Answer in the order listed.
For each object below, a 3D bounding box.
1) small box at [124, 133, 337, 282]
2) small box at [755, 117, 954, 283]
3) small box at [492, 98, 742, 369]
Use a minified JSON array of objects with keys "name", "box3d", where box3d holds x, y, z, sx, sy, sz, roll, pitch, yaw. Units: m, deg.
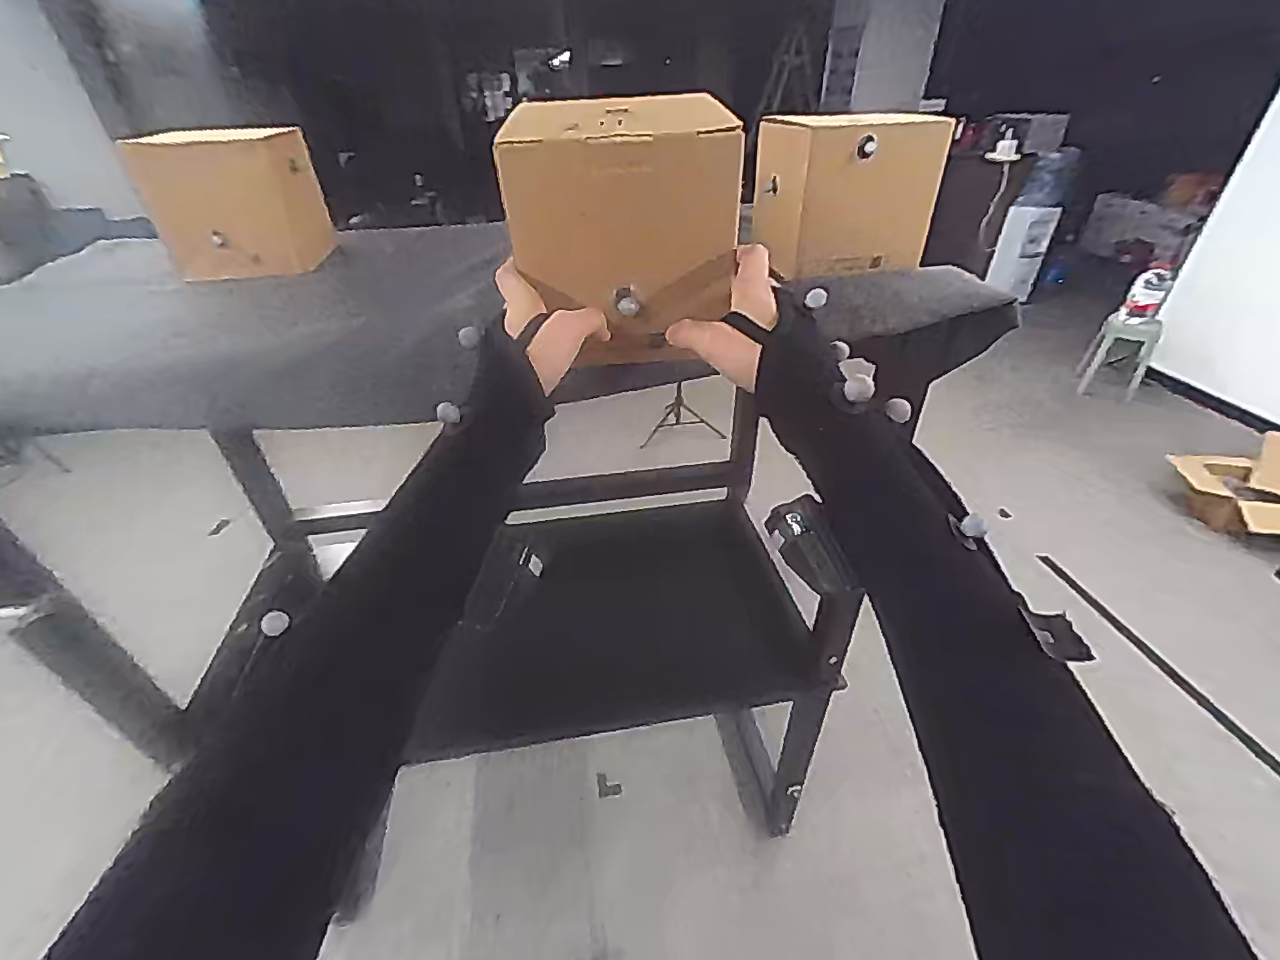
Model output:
[{"name":"small box","box3d":[-0.564,-0.395,0.781,0.168,0.176,0.179,-8,37,-8]},{"name":"small box","box3d":[0.253,-0.360,0.692,0.168,0.176,0.179,-7,35,-5]},{"name":"small box","box3d":[-0.015,-0.212,0.462,0.168,0.176,0.179,-4,41,0]}]
